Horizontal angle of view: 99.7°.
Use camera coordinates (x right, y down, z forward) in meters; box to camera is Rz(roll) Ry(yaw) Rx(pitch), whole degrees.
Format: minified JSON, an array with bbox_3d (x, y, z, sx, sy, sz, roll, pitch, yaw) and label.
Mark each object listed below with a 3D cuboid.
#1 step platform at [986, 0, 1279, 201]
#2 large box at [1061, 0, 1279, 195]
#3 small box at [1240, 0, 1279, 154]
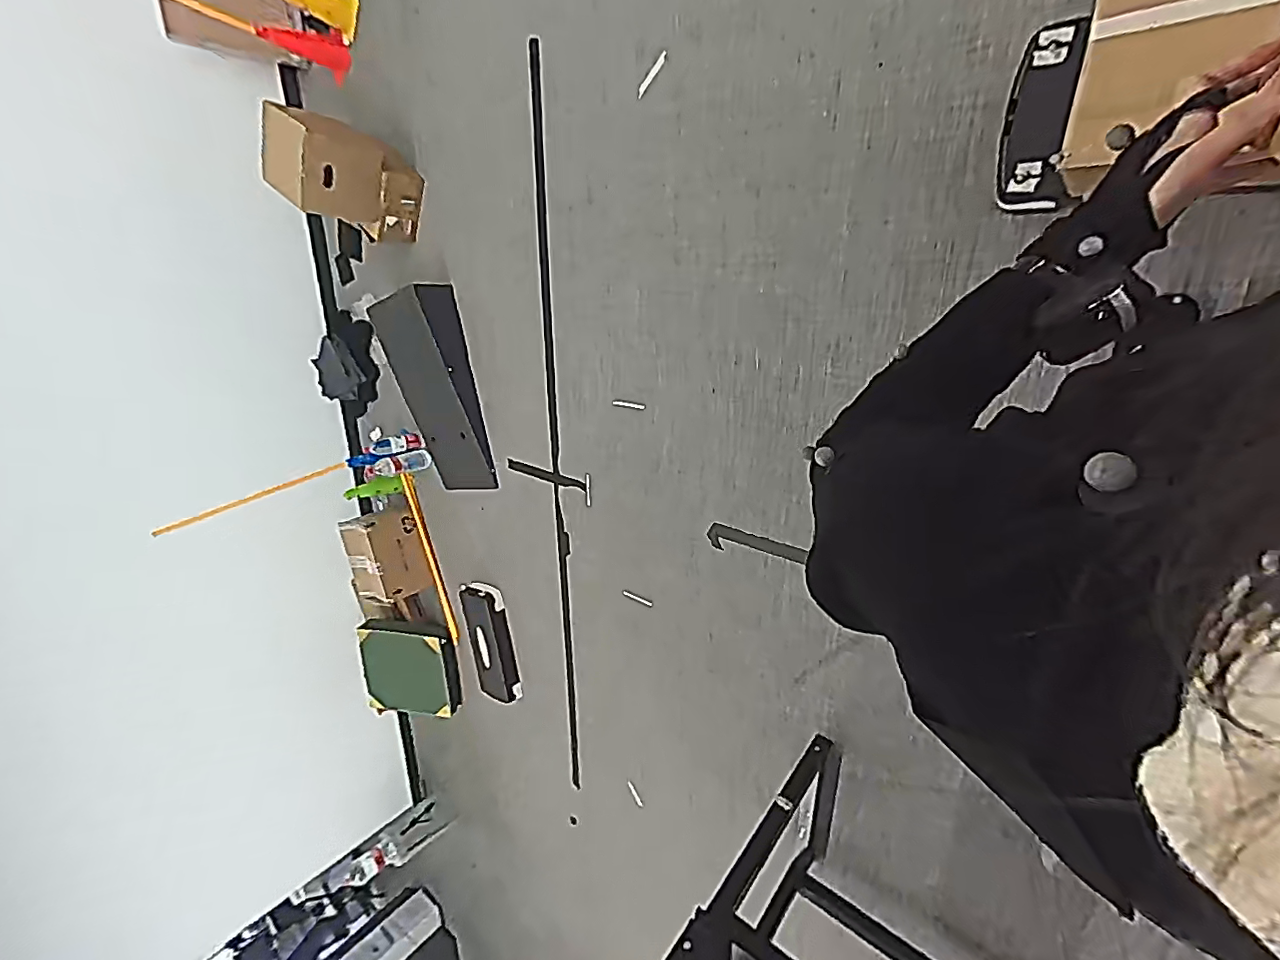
[{"bbox_3d":[0.965,-0.609,0.866,0.684,0.204,0.286,23,119,35],"label":"step platform"},{"bbox_3d":[0.826,-0.561,0.676,0.408,0.320,0.320,17,115,37],"label":"large box"},{"bbox_3d":[0.424,-0.254,0.235,0.179,0.176,0.168,14,128,35],"label":"small box"}]
